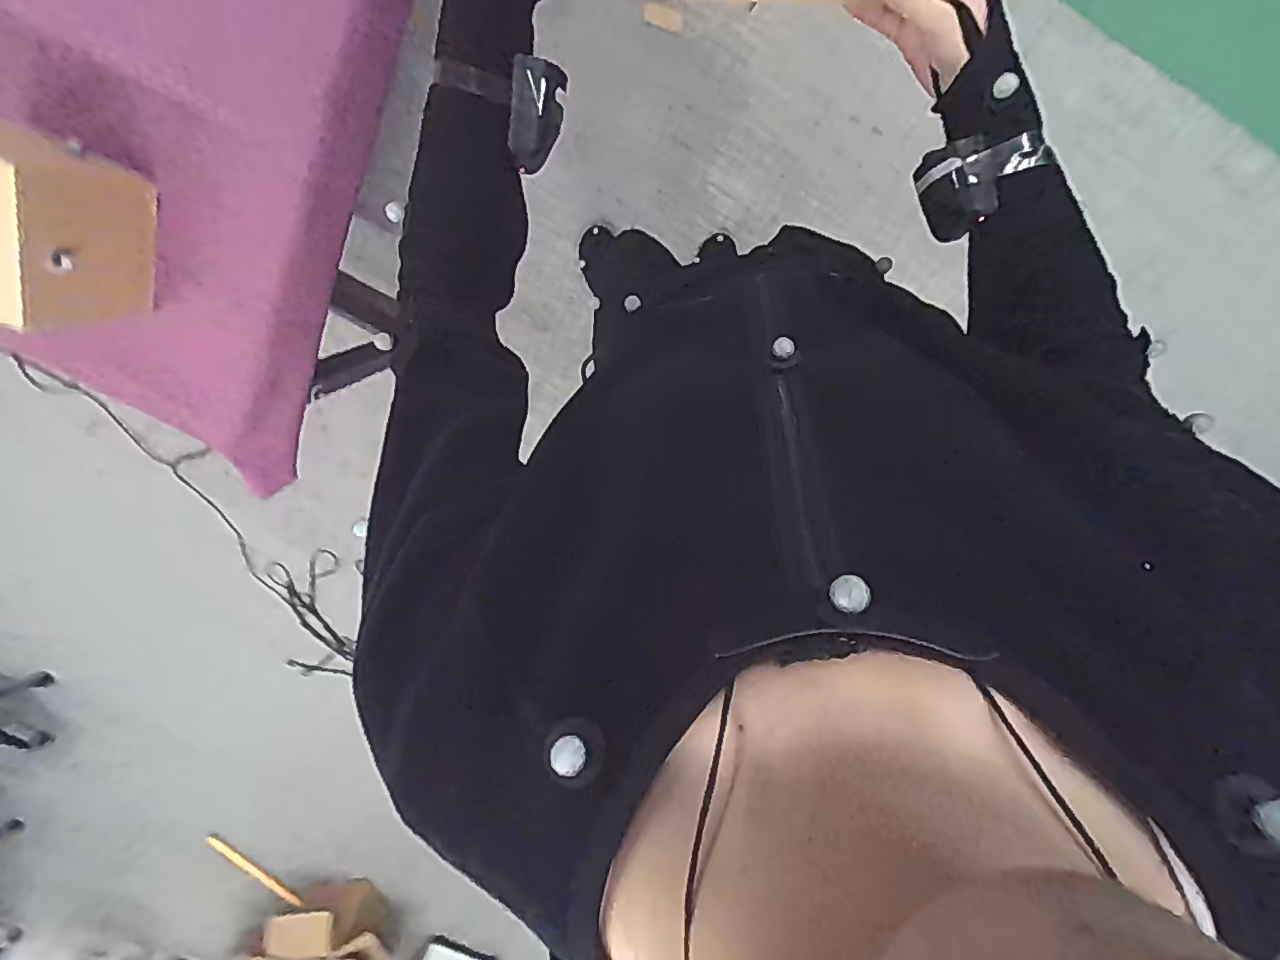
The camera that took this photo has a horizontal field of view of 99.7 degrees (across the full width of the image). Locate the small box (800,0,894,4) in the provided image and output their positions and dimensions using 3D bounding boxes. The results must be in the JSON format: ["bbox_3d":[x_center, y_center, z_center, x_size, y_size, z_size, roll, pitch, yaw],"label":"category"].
[{"bbox_3d":[0.095,-0.444,0.343,0.179,0.176,0.168,-3,150,-6],"label":"small box"}]

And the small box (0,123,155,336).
[{"bbox_3d":[-0.709,-0.290,0.619,0.168,0.176,0.179,23,113,-7],"label":"small box"}]
